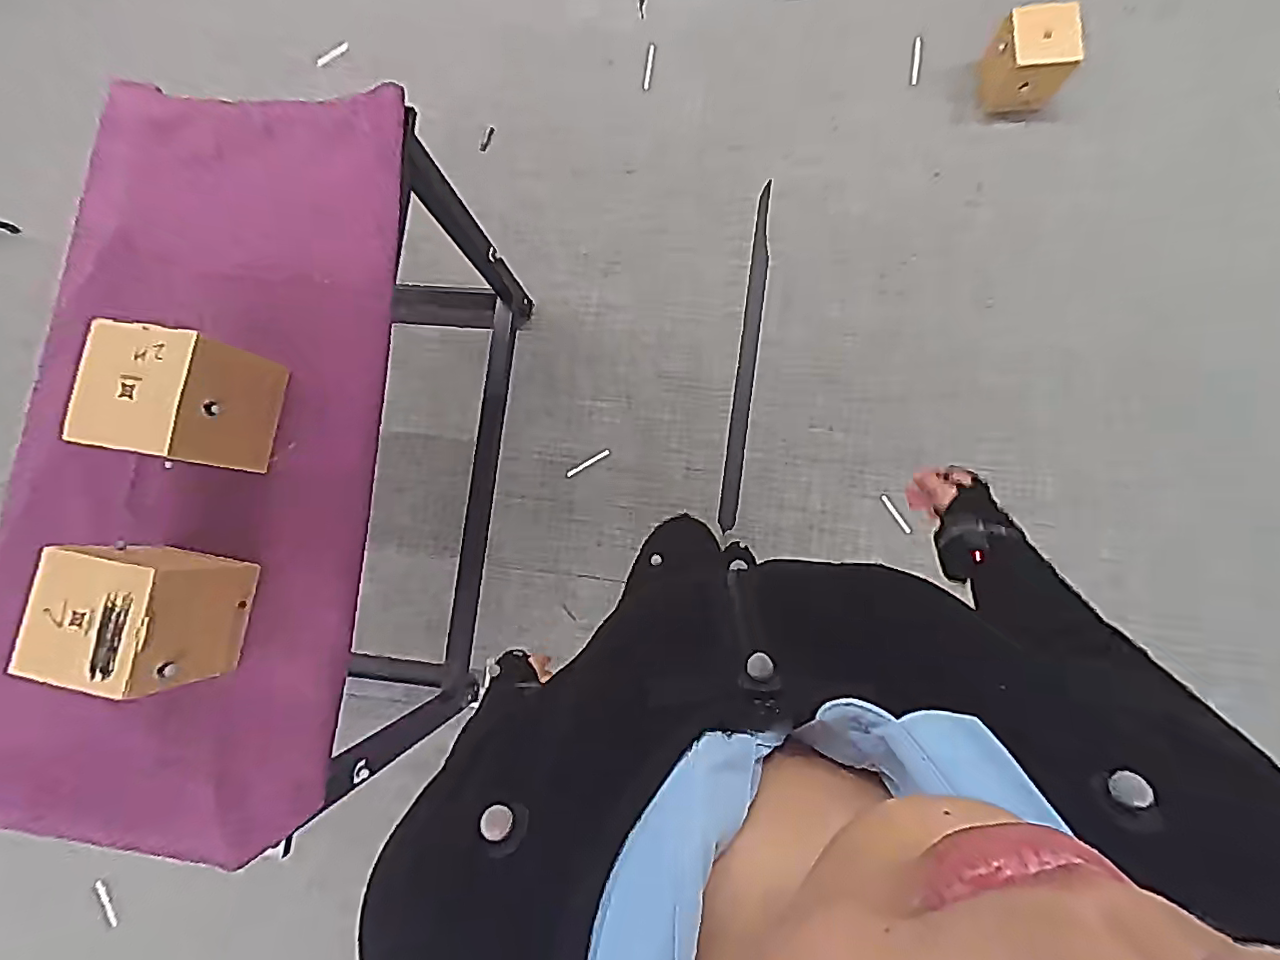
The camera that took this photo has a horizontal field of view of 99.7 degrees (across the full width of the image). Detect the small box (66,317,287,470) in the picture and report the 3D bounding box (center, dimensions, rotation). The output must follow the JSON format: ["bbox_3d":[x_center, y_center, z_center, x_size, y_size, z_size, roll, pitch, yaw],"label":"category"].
[{"bbox_3d":[-0.668,-0.118,0.802,0.168,0.176,0.179,9,84,7],"label":"small box"}]

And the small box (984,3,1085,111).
[{"bbox_3d":[1.080,-1.154,1.492,0.168,0.176,0.179,0,83,6],"label":"small box"}]
